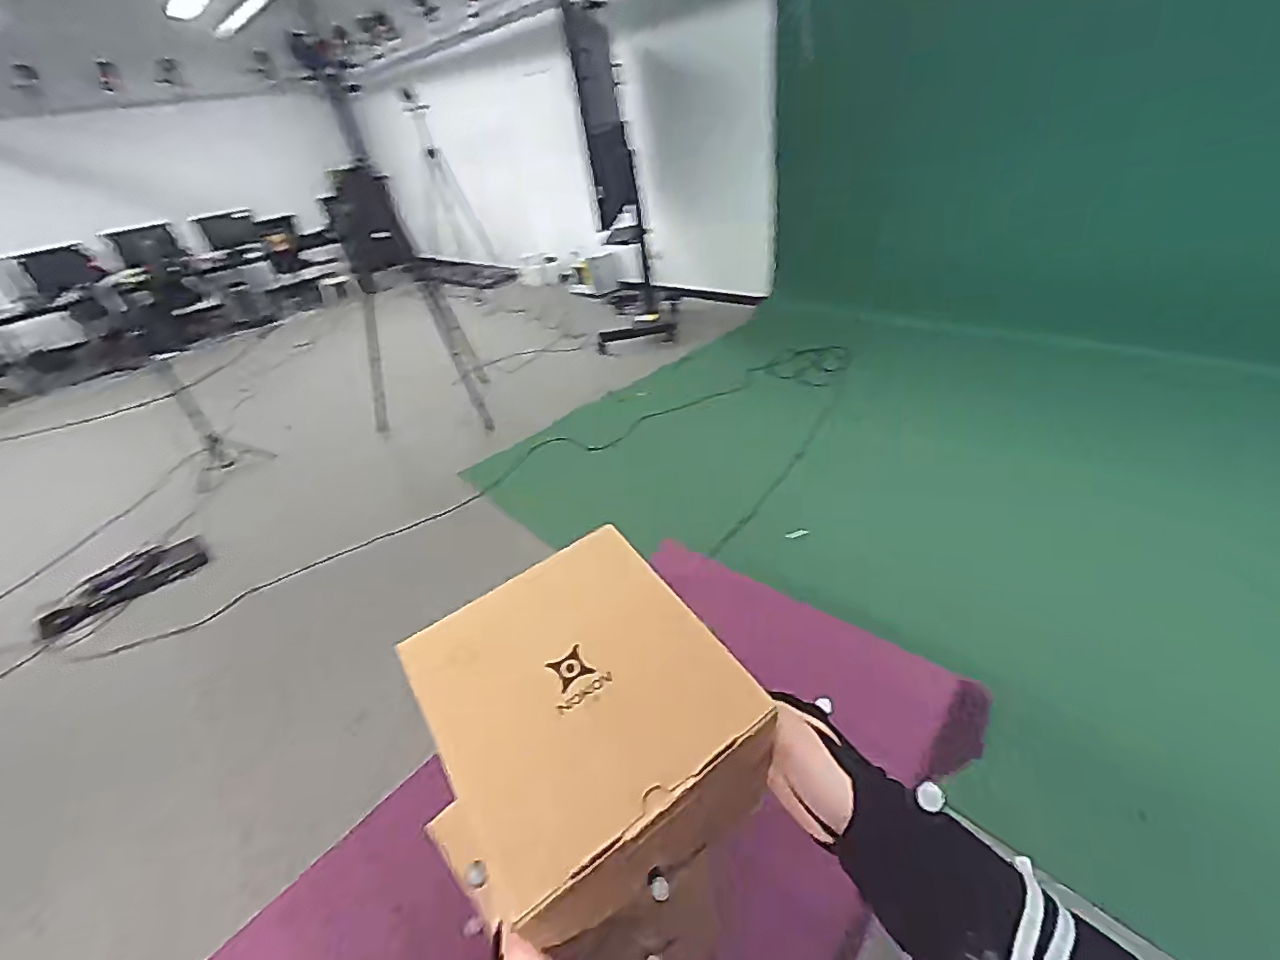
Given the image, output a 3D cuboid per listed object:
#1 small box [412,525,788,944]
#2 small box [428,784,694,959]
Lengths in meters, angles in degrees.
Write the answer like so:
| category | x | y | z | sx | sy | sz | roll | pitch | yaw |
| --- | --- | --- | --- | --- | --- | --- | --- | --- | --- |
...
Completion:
| category | x | y | z | sx | sy | sz | roll | pitch | yaw |
| --- | --- | --- | --- | --- | --- | --- | --- | --- | --- |
| small box | -0.028 | 0.170 | 0.374 | 0.168 | 0.176 | 0.179 | -27 | 50 | -21 |
| small box | -0.067 | 0.359 | 0.512 | 0.168 | 0.176 | 0.179 | -32 | 42 | -29 |
